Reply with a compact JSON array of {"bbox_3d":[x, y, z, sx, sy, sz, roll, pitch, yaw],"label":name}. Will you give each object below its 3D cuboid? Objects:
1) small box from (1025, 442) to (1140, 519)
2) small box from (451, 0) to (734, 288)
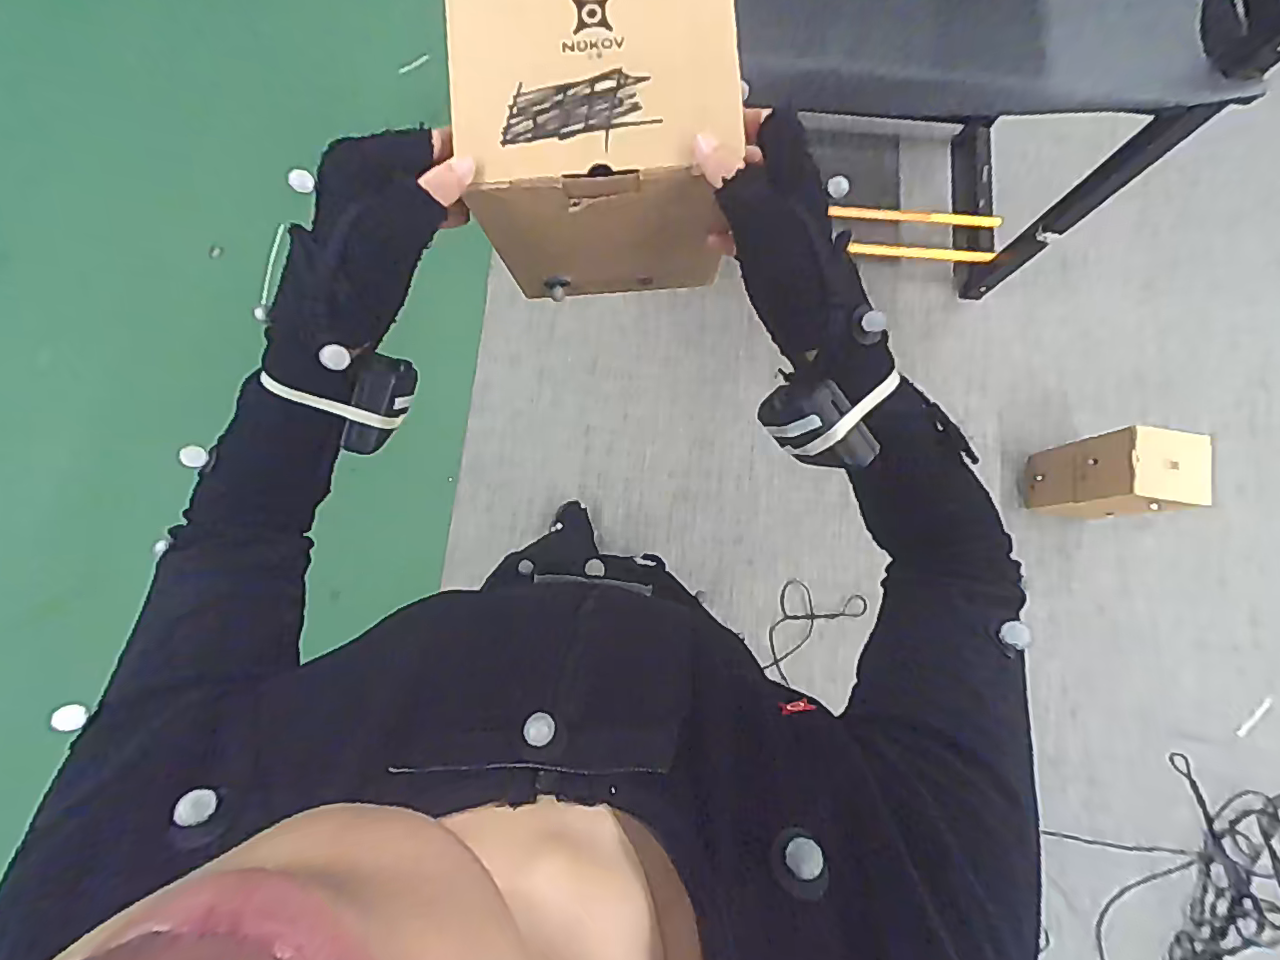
[{"bbox_3d":[1.194,0.007,1.466,0.179,0.176,0.168,10,80,1],"label":"small box"},{"bbox_3d":[-0.026,-0.255,0.397,0.168,0.176,0.179,-4,86,1],"label":"small box"}]
